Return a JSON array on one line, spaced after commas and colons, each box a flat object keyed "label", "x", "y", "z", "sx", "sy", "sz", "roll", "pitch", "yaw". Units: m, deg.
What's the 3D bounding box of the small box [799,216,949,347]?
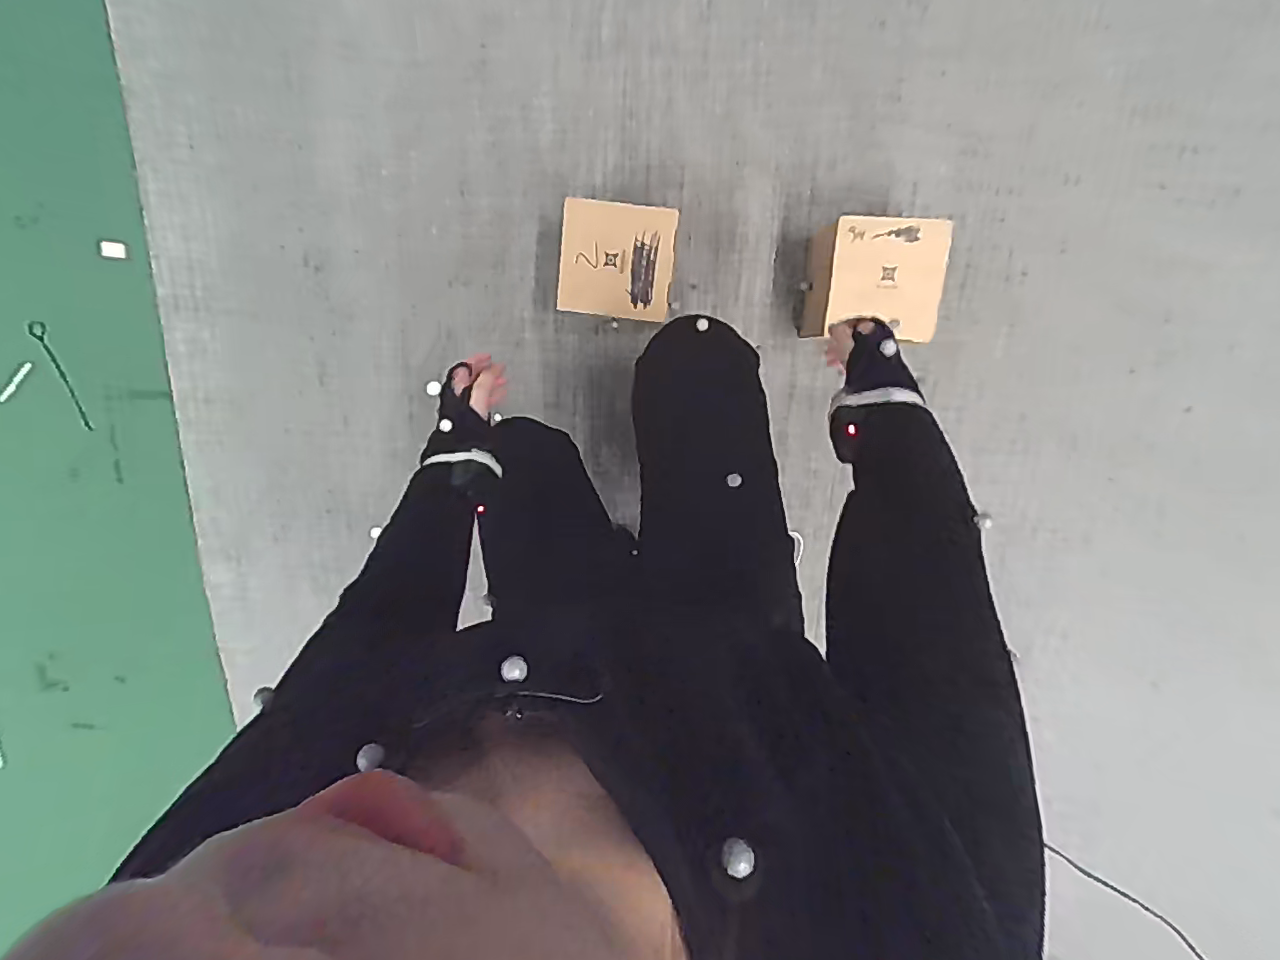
[{"label": "small box", "x": 0.366, "y": -0.315, "z": 0.883, "sx": 0.168, "sy": 0.176, "sz": 0.179, "roll": 5, "pitch": 105, "yaw": 3}]
